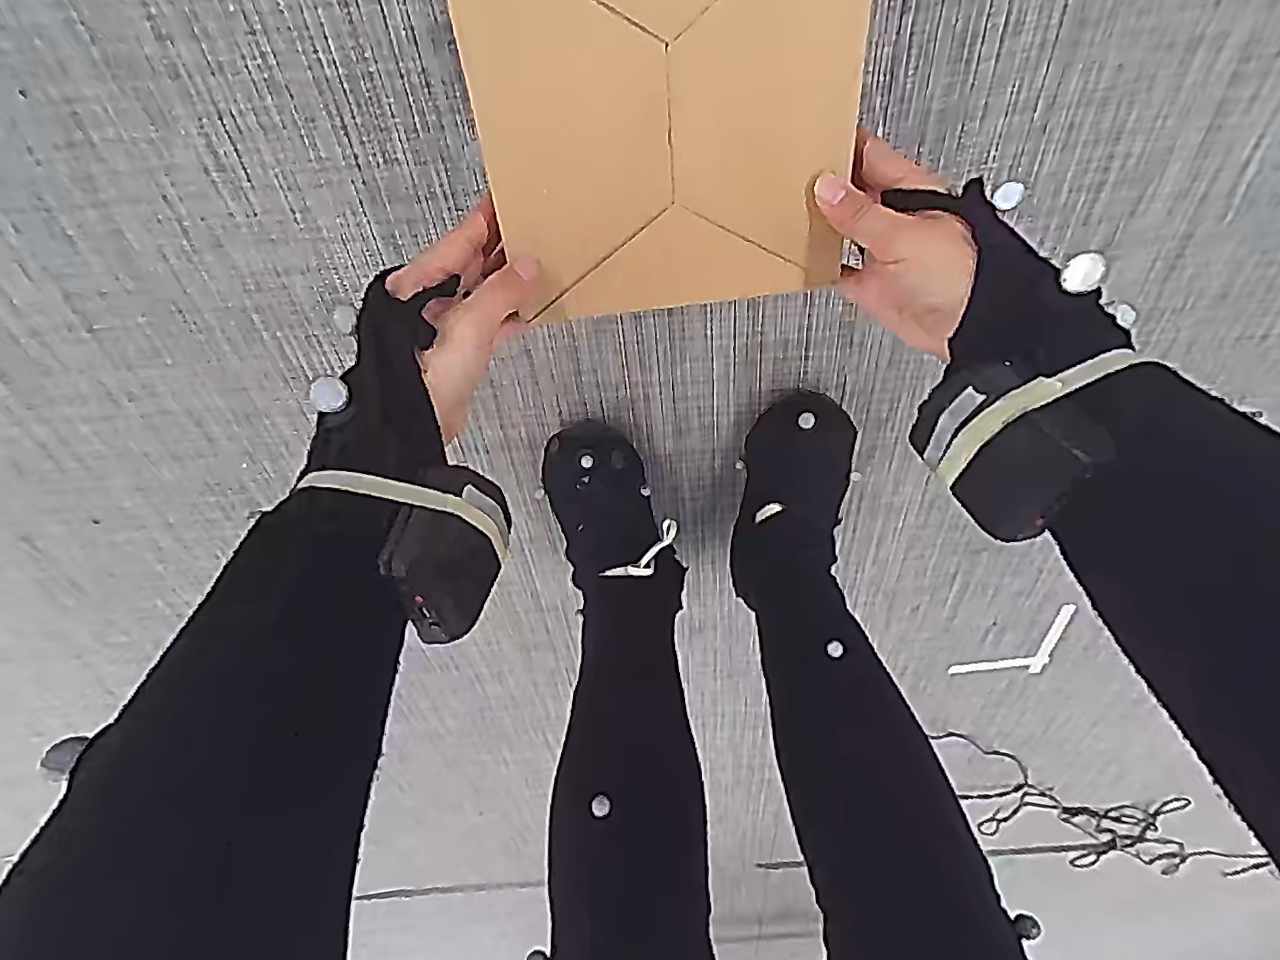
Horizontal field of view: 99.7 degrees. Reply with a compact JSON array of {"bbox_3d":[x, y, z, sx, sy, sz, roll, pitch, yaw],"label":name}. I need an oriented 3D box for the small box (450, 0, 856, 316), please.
[{"bbox_3d":[0.010,-0.209,0.314,0.179,0.176,0.168,-8,127,-1],"label":"small box"}]
